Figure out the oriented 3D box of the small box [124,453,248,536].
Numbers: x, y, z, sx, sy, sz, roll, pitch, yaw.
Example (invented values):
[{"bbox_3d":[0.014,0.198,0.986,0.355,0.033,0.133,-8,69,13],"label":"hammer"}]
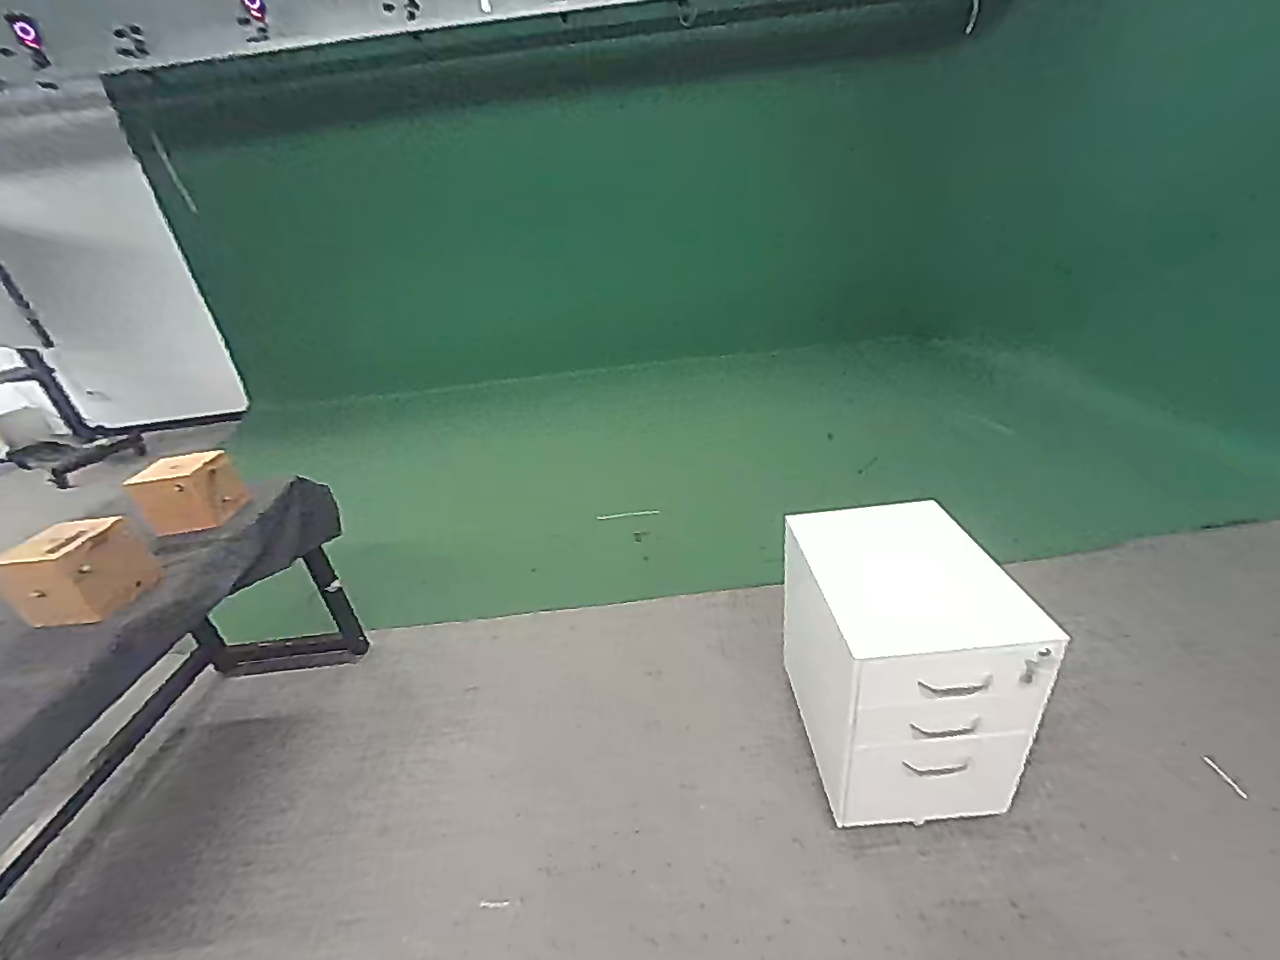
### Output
[{"bbox_3d":[-1.261,0.042,1.517,0.179,0.176,0.168,-9,28,-3],"label":"small box"}]
